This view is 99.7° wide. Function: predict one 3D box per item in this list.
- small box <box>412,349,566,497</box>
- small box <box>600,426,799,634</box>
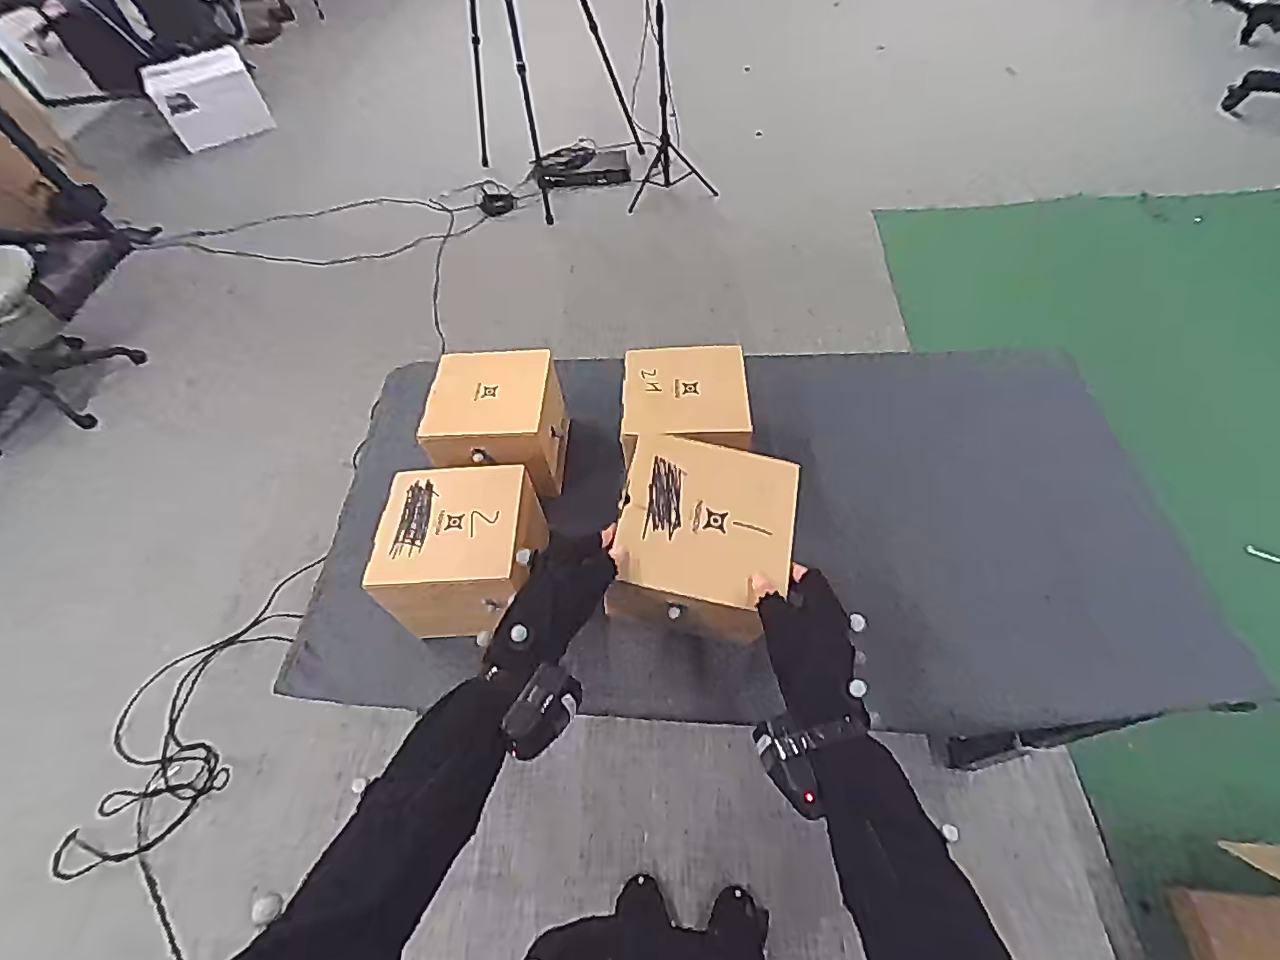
[{"bbox_3d":[-0.221,-0.085,0.852,0.179,0.176,0.168,-2,56,5],"label":"small box"},{"bbox_3d":[0.059,0.065,0.605,0.179,0.176,0.168,13,66,2],"label":"small box"}]
